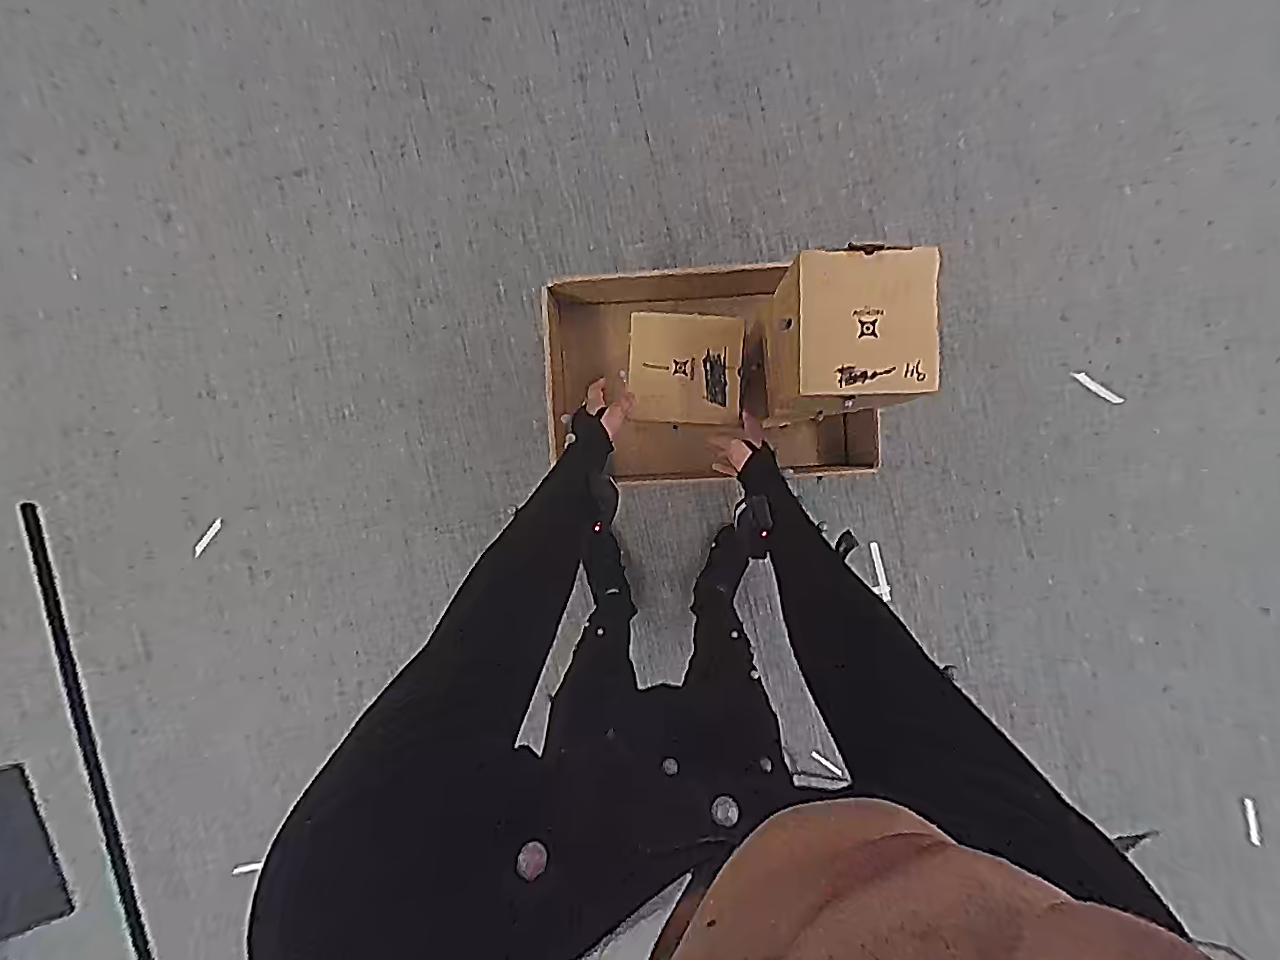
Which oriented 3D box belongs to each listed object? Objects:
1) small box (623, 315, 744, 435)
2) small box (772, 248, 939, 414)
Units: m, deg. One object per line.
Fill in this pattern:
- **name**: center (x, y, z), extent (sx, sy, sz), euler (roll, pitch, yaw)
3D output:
- **small box**: center (0.065, -0.164, 0.890), extent (0.179, 0.176, 0.168), euler (3, 92, 1)
- **small box**: center (0.272, -0.185, 0.715), extent (0.168, 0.176, 0.179), euler (0, 91, 4)
